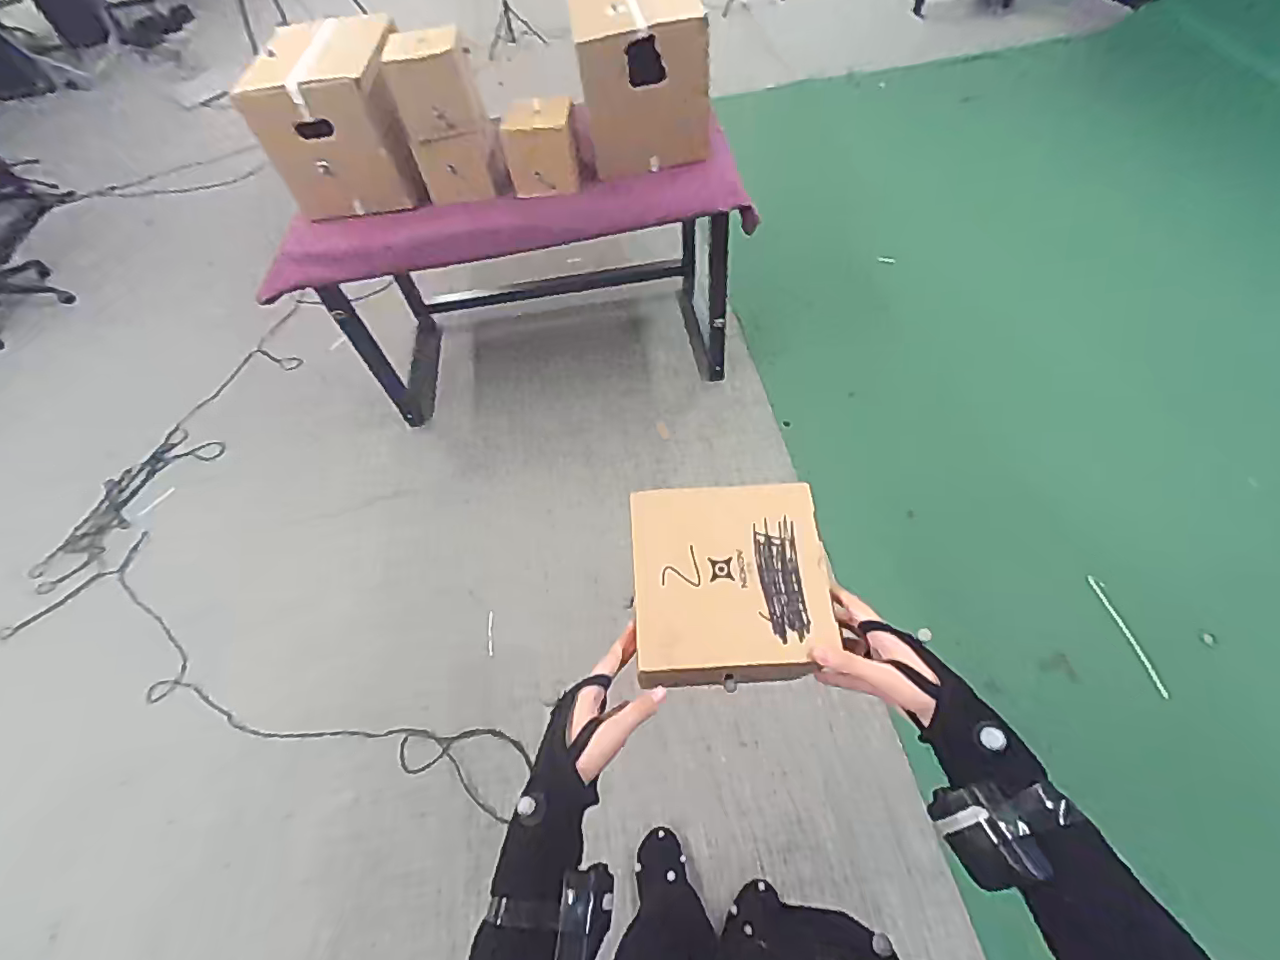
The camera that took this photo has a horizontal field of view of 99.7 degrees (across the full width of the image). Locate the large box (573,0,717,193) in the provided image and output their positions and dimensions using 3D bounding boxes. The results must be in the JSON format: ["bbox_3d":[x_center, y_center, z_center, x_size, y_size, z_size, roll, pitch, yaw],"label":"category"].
[{"bbox_3d":[0.015,-1.053,1.462,0.320,0.320,0.408,-11,56,2],"label":"large box"}]

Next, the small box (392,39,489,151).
[{"bbox_3d":[-0.478,-0.942,1.327,0.168,0.176,0.179,-9,55,2],"label":"small box"}]
